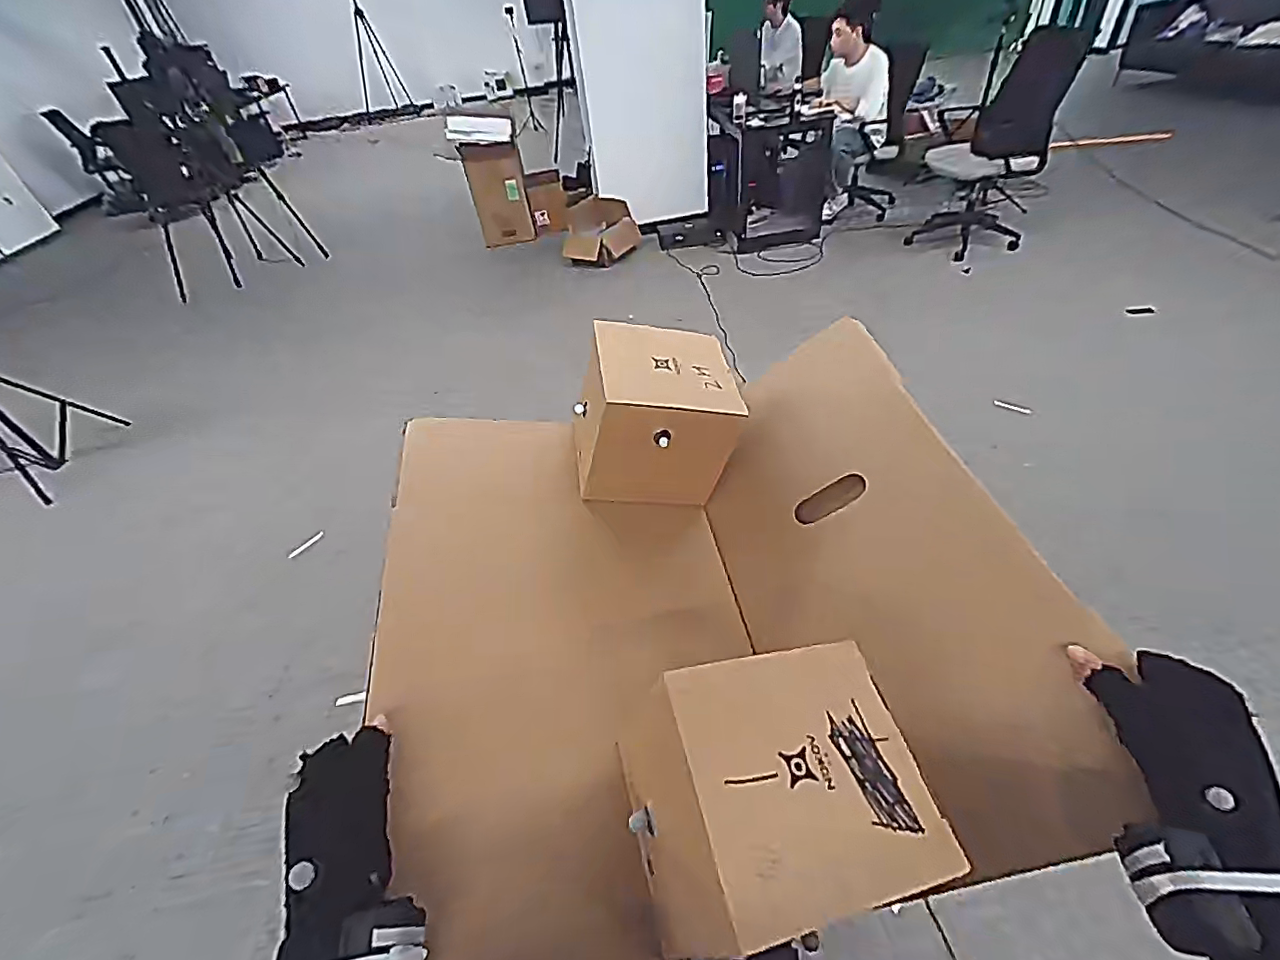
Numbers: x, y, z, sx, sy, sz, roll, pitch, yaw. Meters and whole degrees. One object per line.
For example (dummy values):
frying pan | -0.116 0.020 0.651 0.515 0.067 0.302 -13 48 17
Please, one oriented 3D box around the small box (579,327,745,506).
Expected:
small box | 0.015 -0.079 0.726 0.179 0.176 0.168 4 47 -15
